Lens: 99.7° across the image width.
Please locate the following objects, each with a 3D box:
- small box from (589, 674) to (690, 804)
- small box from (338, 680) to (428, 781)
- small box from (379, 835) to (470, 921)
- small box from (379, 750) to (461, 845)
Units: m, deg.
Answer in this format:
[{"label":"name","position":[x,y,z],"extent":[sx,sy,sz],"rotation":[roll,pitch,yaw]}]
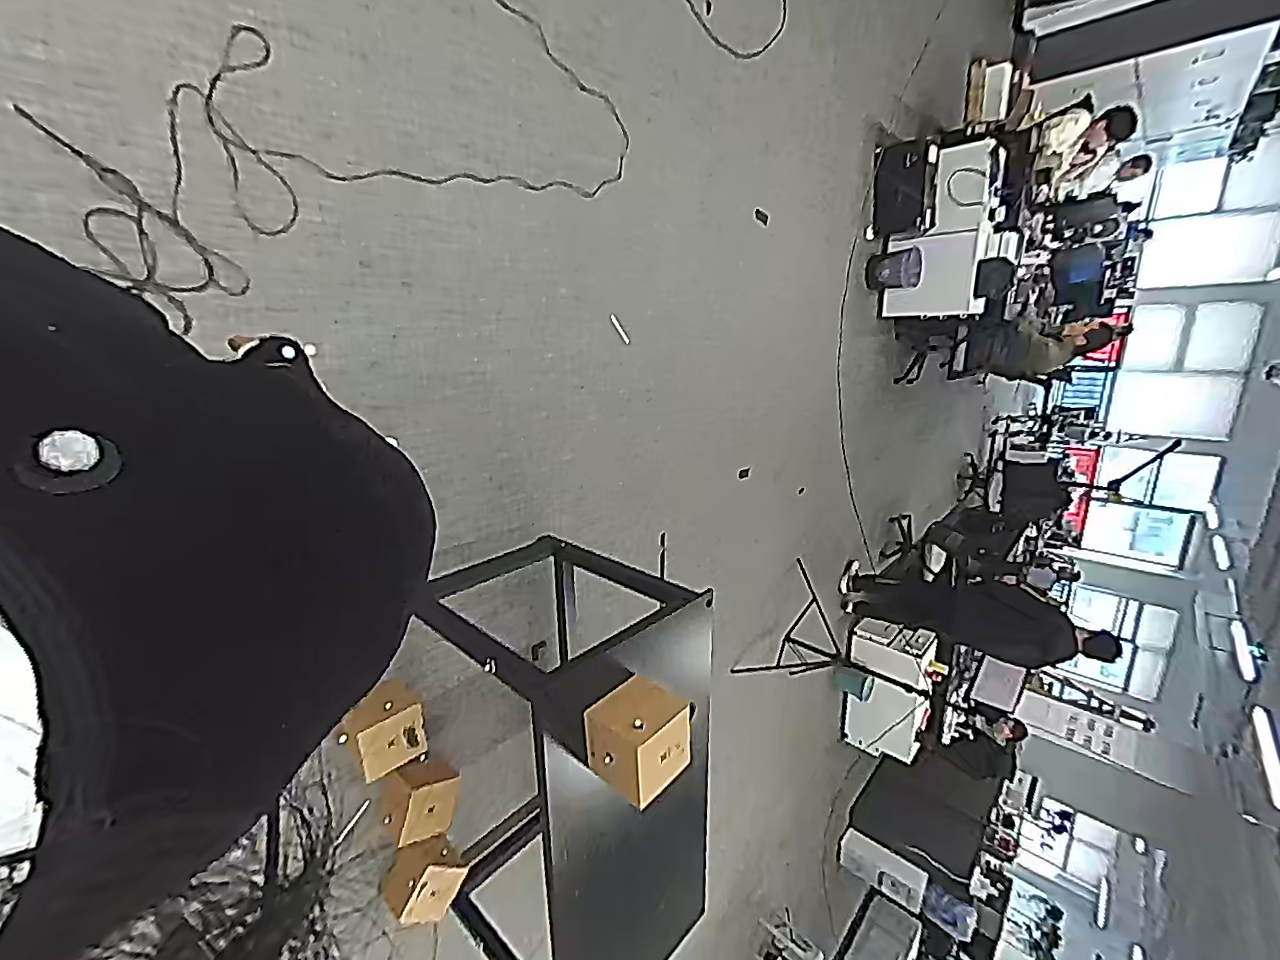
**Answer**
[{"label":"small box","position":[-0.004,0.582,1.239],"extent":[0.179,0.176,0.168],"rotation":[-20,115,-44]},{"label":"small box","position":[-0.741,0.710,1.560],"extent":[0.179,0.176,0.168],"rotation":[-18,112,-43]},{"label":"small box","position":[-0.698,1.276,1.748],"extent":[0.179,0.176,0.168],"rotation":[45,66,-44]},{"label":"small box","position":[-0.690,0.980,1.686],"extent":[0.168,0.176,0.179],"rotation":[13,89,-50]}]
